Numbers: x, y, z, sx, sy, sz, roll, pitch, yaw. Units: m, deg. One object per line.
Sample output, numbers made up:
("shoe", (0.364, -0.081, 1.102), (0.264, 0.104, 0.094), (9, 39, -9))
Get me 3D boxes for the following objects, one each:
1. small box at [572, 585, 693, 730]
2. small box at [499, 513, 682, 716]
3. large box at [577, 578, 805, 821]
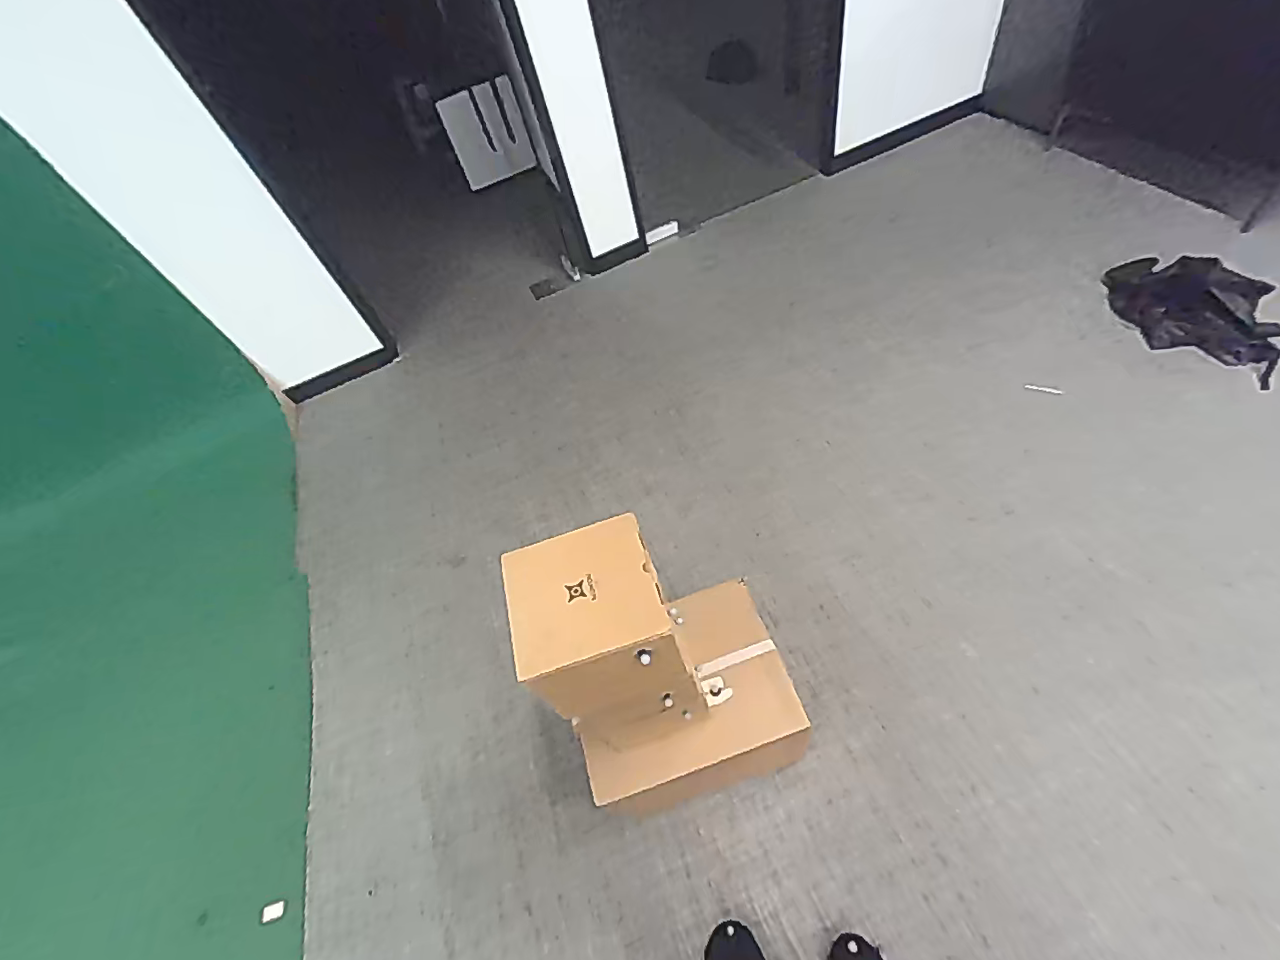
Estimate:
("small box", (-0.026, 0.259, 0.819), (0.168, 0.176, 0.179), (-19, 51, -3))
("small box", (-0.058, 0.175, 0.683), (0.179, 0.176, 0.168), (-18, 52, -3))
("large box", (0.089, 0.472, 1.149), (0.408, 0.320, 0.320), (-20, 53, -2))
